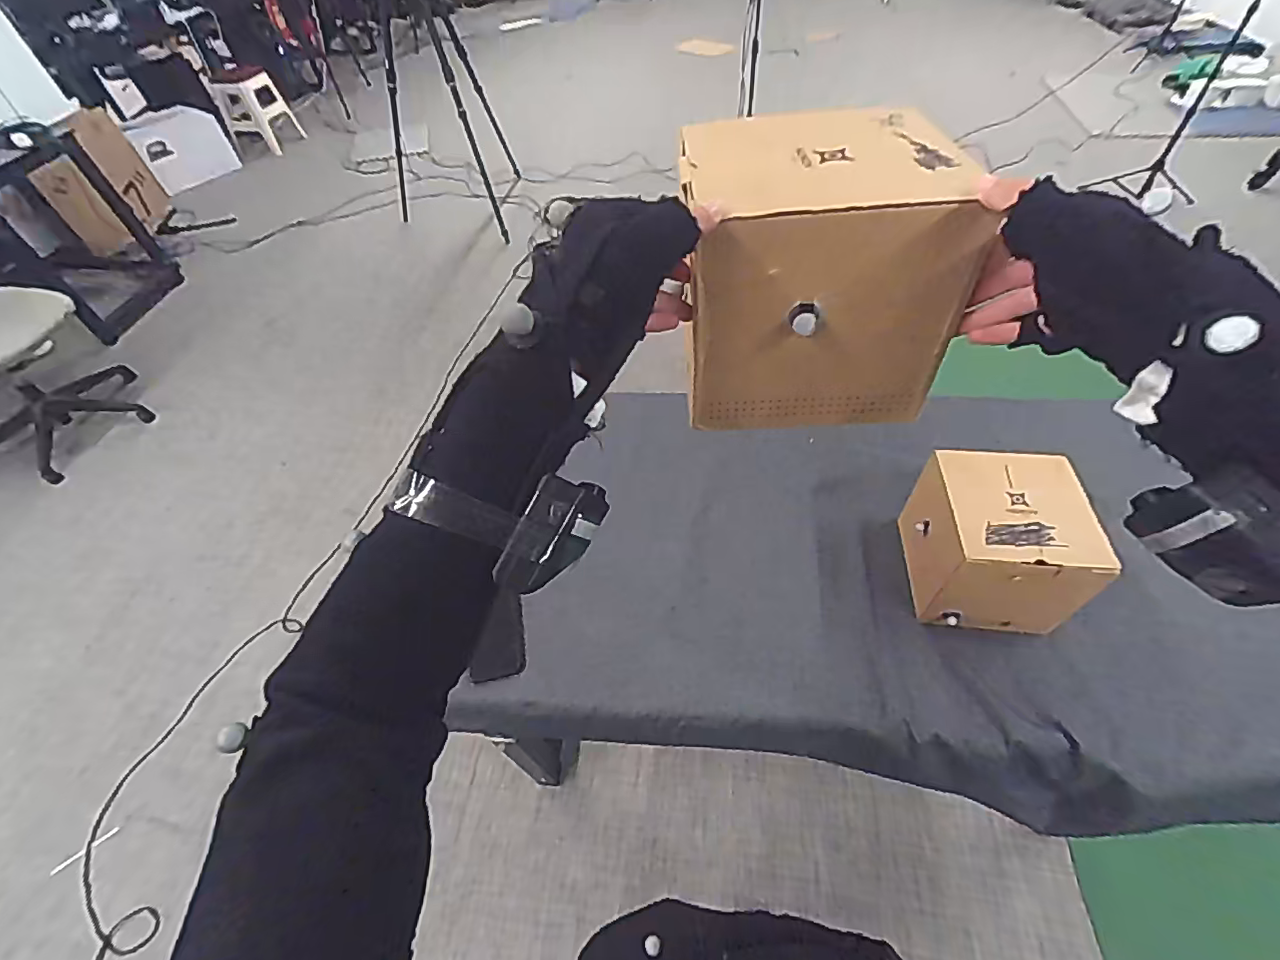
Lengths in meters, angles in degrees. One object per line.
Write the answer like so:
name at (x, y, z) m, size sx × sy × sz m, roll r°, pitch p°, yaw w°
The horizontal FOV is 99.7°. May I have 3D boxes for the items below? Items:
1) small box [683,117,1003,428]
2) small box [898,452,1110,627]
small box at (0.127, -0.155, 0.421) m, size 0.179 × 0.176 × 0.168 m, roll -3°, pitch 49°, yaw 3°
small box at (0.472, 0.084, 0.737) m, size 0.168 × 0.176 × 0.179 m, roll 4°, pitch 50°, yaw 7°
